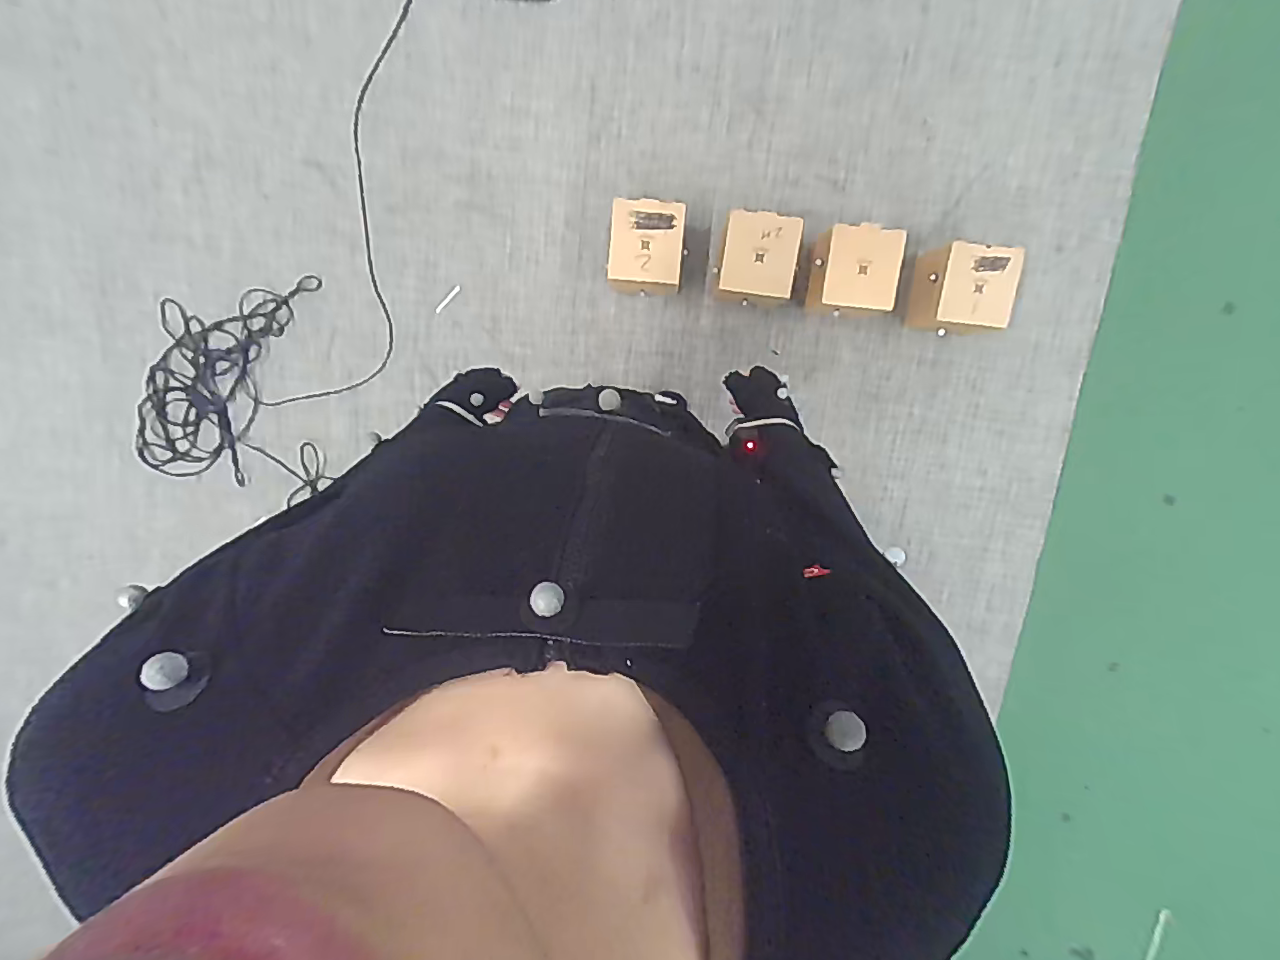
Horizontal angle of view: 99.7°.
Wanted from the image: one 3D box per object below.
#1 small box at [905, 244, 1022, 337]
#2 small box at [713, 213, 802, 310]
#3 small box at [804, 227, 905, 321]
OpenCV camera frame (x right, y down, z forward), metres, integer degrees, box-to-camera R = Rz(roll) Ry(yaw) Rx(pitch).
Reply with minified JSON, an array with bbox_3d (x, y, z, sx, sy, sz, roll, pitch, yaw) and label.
[{"bbox_3d":[0.763,-0.447,1.295,0.168,0.176,0.179,6,101,0],"label":"small box"},{"bbox_3d":[0.272,-0.512,1.293,0.168,0.176,0.179,8,100,0],"label":"small box"},{"bbox_3d":[0.502,-0.484,1.295,0.168,0.176,0.179,5,100,0],"label":"small box"}]
